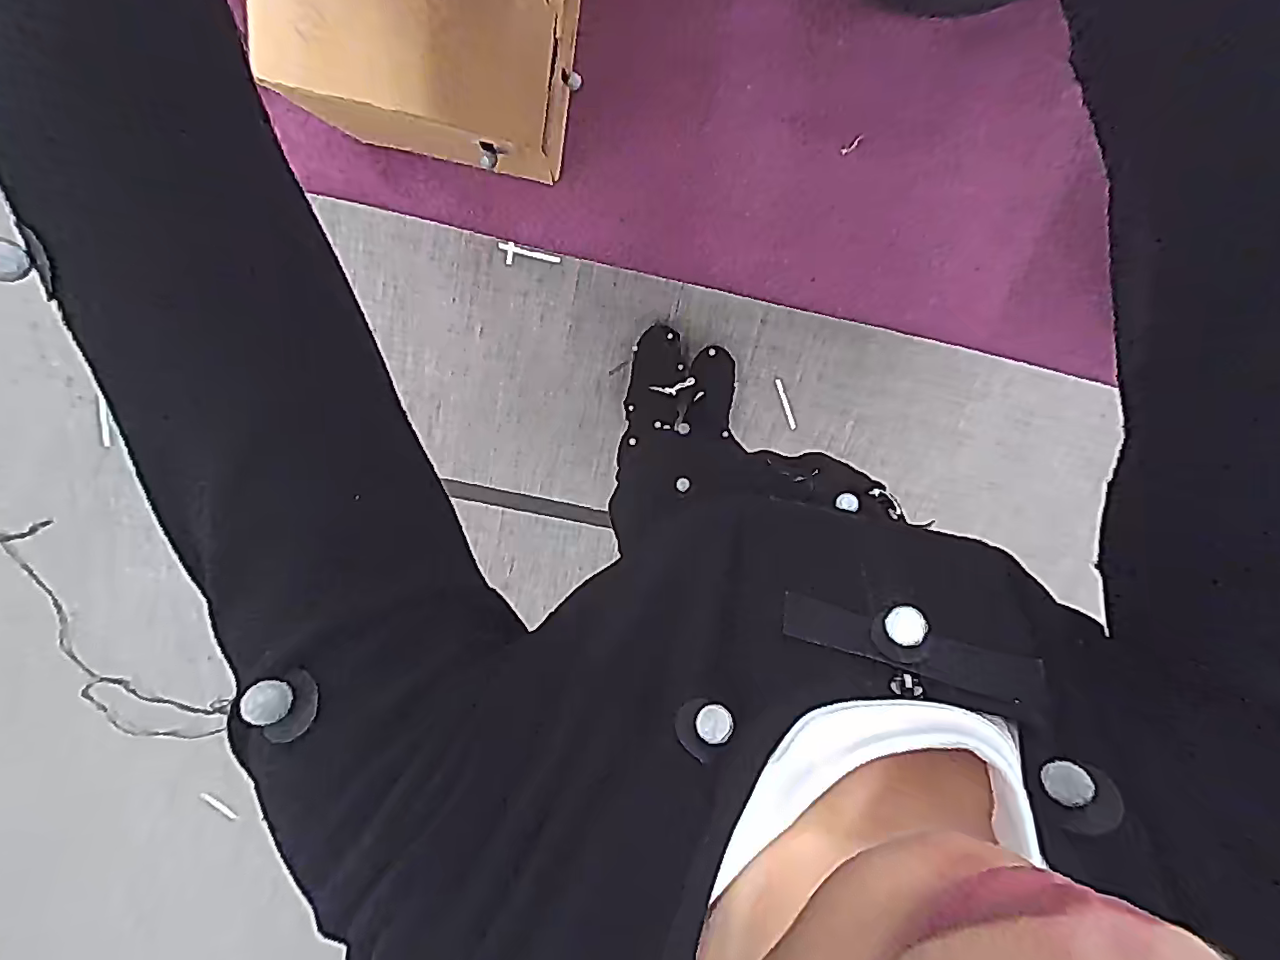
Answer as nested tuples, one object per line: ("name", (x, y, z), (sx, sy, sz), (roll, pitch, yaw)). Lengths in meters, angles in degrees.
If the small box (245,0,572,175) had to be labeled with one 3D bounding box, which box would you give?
("small box", (-0.146, -0.334, 0.387), (0.179, 0.176, 0.168), (7, 111, -10))
